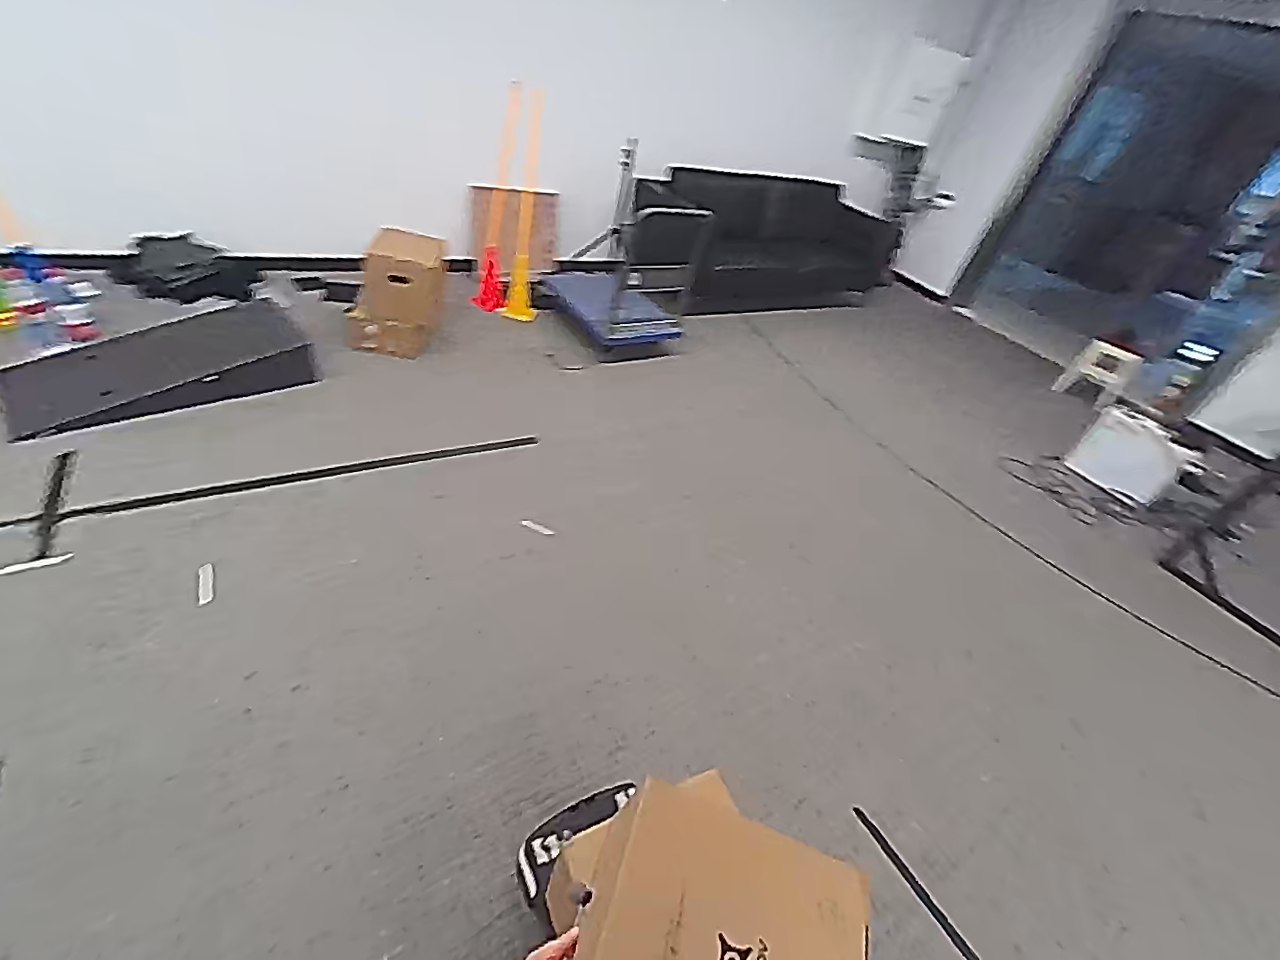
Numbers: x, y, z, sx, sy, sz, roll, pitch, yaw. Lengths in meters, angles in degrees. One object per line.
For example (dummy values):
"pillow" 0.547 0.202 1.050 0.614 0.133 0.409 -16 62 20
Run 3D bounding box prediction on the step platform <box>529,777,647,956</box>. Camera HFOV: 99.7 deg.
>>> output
"step platform" 0.002 0.975 1.062 0.286 0.204 0.684 -8 43 -26

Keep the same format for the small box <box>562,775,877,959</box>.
"small box" 0.044 0.348 0.385 0.179 0.176 0.168 22 44 3

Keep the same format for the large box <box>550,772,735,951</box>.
"large box" 0.068 0.804 0.906 0.320 0.320 0.408 -9 43 -28
